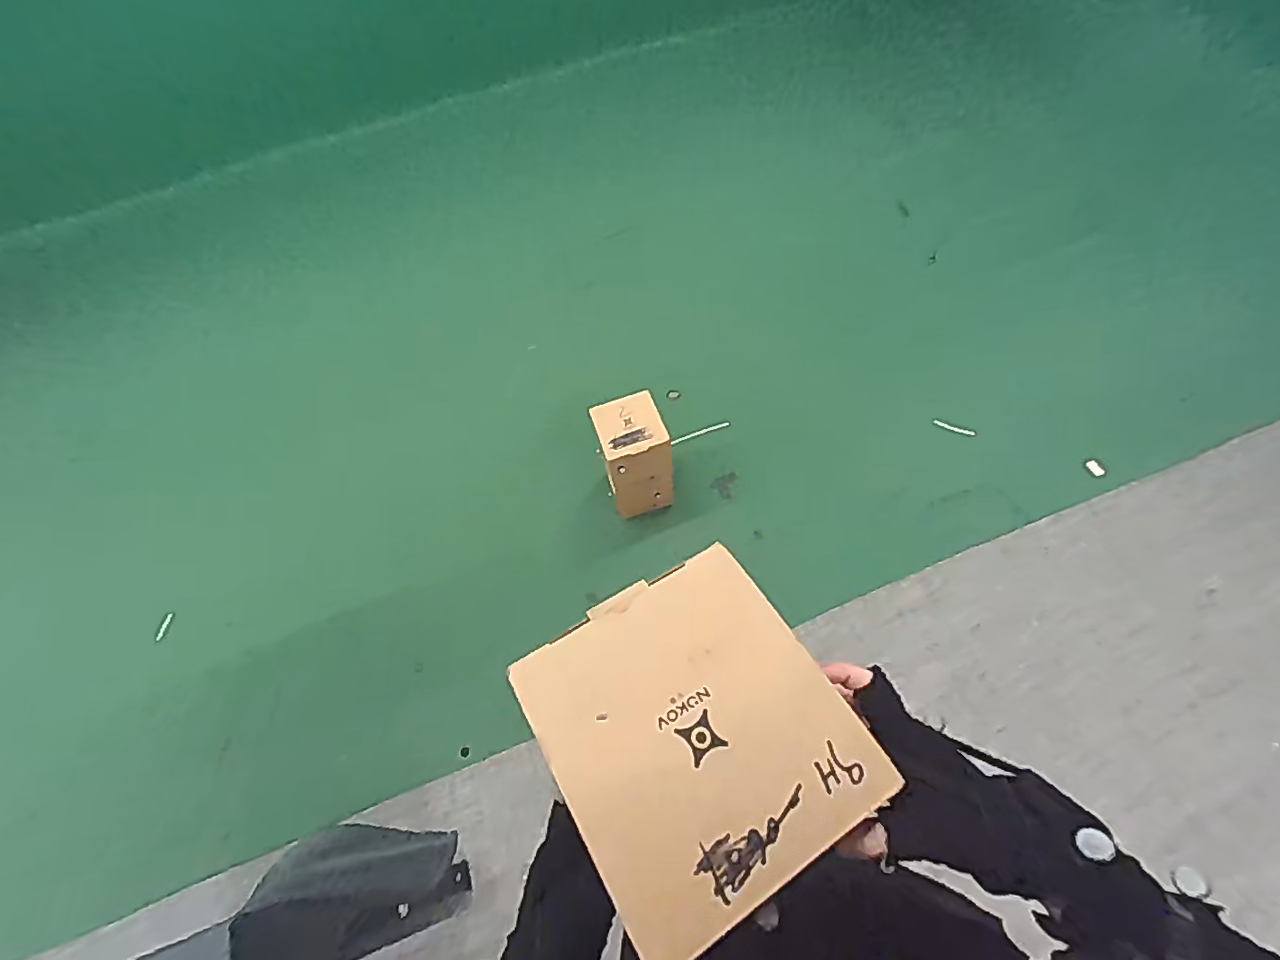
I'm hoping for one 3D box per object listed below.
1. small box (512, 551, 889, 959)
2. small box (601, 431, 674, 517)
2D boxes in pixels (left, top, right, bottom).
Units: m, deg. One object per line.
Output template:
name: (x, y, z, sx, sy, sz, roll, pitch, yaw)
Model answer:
small box: (0.031, 0.188, 0.390, 0.168, 0.176, 0.179, -28, 61, -14)
small box: (-0.003, -0.009, 1.578, 0.168, 0.176, 0.179, -17, 60, -3)
